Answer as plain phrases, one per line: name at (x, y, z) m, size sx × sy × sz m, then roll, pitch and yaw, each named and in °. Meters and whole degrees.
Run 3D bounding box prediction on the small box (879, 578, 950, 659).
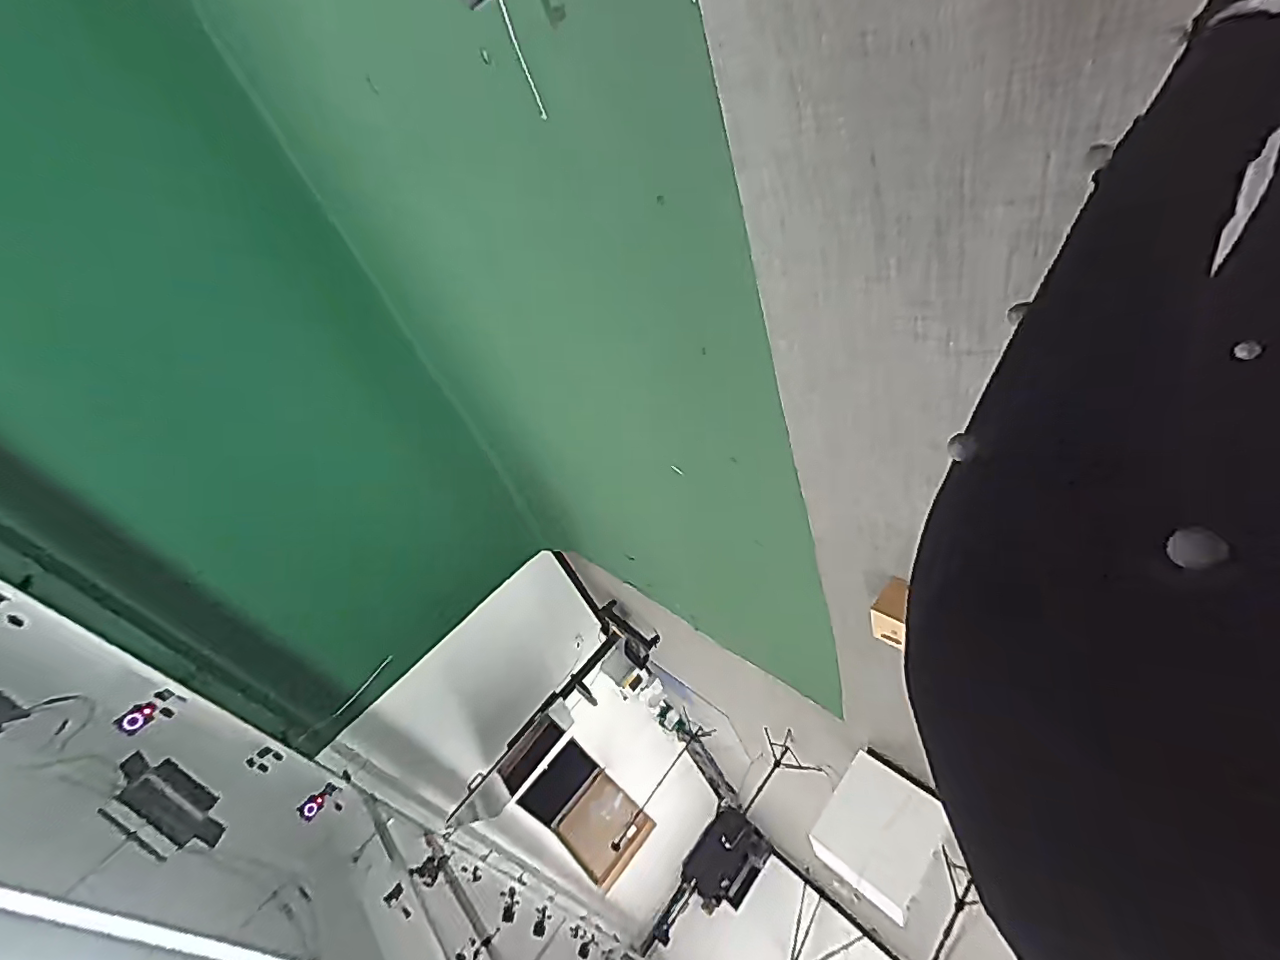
small box at (0.959, 0.478, 1.883) m, size 0.168 × 0.176 × 0.179 m, roll 23°, pitch 146°, yaw 45°
